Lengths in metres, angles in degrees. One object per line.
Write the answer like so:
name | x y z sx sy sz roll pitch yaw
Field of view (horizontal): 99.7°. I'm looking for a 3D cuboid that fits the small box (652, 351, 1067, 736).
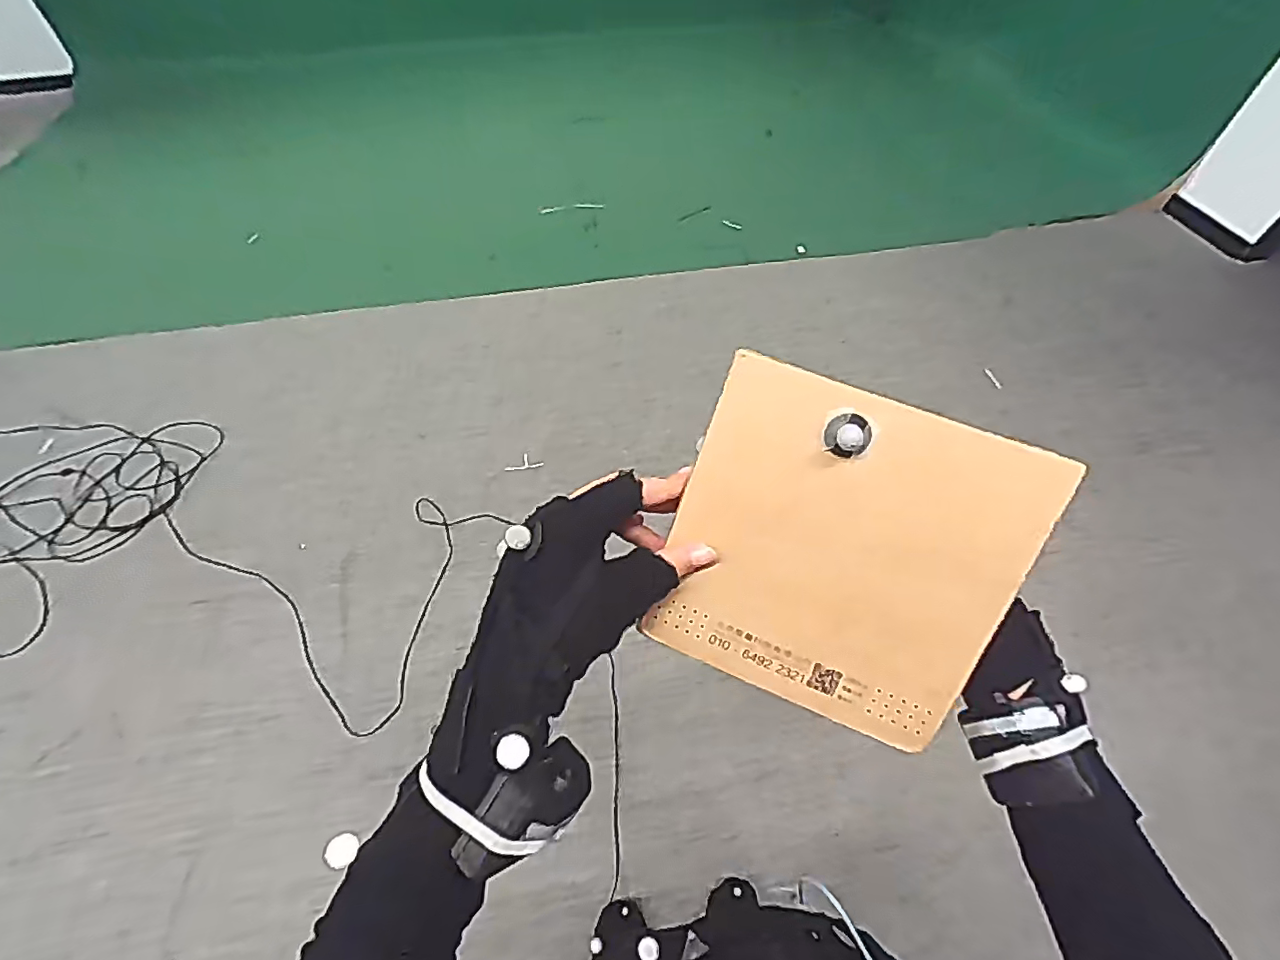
small box | 0.121 0.026 0.364 0.168 0.176 0.179 21 14 11
